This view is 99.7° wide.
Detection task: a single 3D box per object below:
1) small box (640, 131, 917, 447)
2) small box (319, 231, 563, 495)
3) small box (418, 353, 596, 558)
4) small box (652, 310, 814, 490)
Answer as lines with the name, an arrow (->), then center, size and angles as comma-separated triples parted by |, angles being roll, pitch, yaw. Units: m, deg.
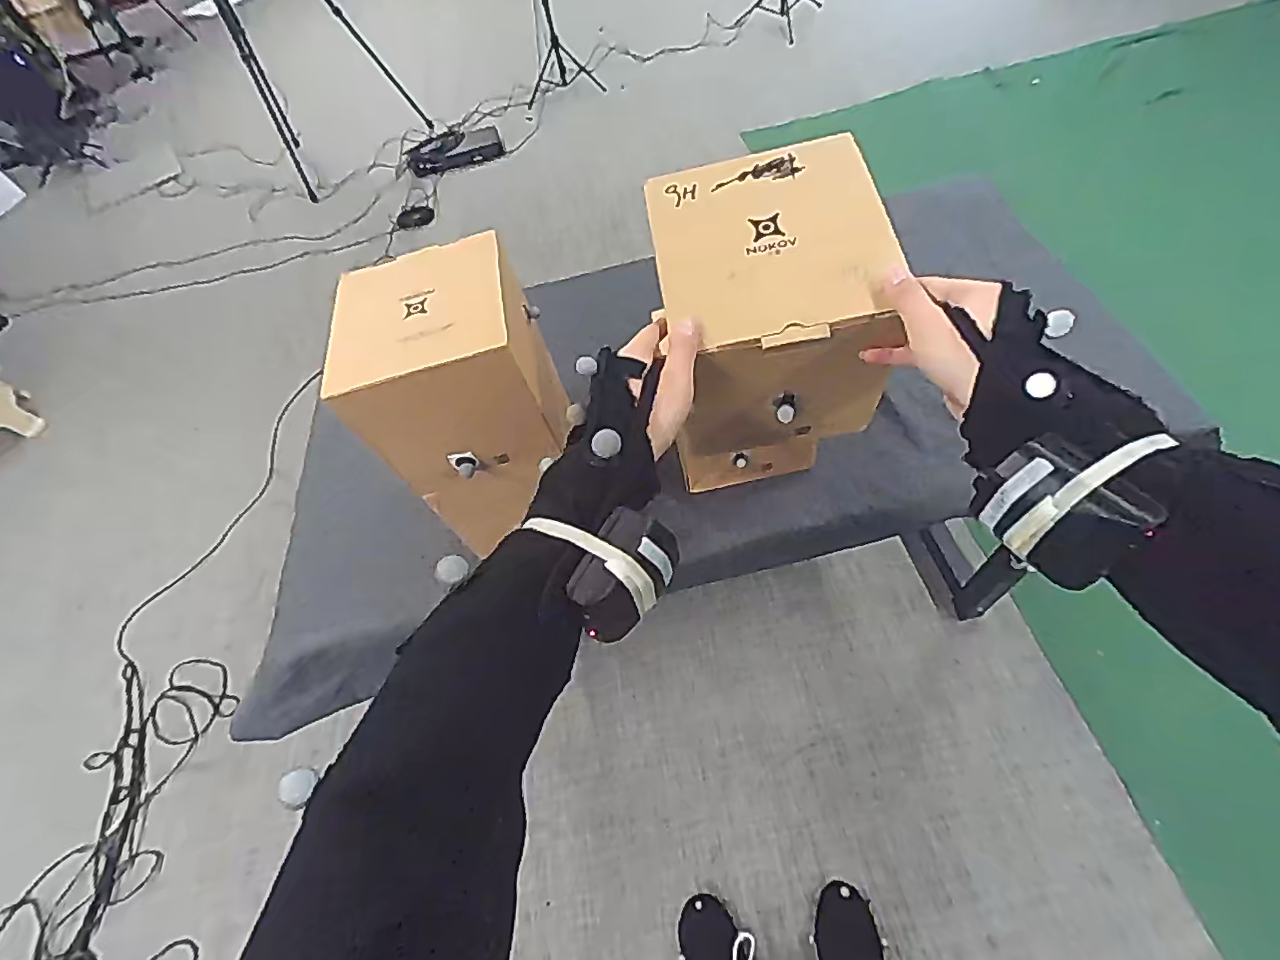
small box -> 0.103, -0.140, 0.456 | 0.168, 0.176, 0.179 | -10, 67, 6
small box -> -0.189, -0.113, 0.553 | 0.168, 0.176, 0.179 | -17, 57, 1
small box -> -0.163, -0.026, 0.688 | 0.168, 0.176, 0.179 | -16, 57, 1
small box -> 0.117, -0.114, 0.693 | 0.168, 0.176, 0.179 | -13, 56, 2
